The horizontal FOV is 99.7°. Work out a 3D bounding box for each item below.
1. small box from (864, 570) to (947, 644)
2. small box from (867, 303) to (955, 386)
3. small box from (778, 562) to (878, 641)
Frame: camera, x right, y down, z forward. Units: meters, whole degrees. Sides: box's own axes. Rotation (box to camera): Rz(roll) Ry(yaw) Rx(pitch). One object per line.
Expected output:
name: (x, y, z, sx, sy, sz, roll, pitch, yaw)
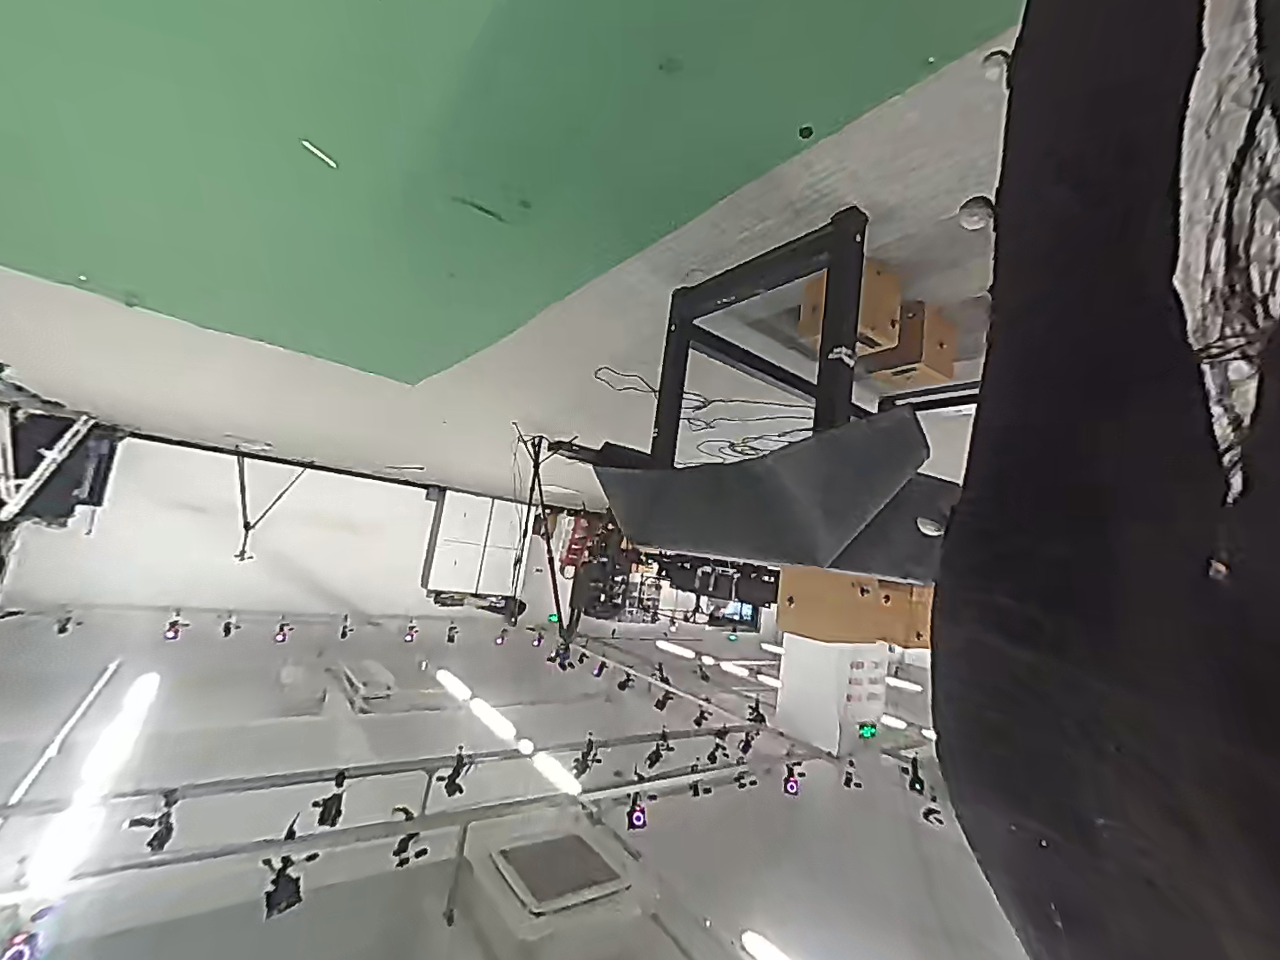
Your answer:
small box: (0.719, 0.347, 1.487, 0.179, 0.176, 0.168, 12, 172, -31)
small box: (0.761, -0.380, 1.519, 0.179, 0.176, 0.168, 11, 172, -34)
small box: (0.474, 0.299, 1.355, 0.168, 0.176, 0.179, 11, 172, -33)
